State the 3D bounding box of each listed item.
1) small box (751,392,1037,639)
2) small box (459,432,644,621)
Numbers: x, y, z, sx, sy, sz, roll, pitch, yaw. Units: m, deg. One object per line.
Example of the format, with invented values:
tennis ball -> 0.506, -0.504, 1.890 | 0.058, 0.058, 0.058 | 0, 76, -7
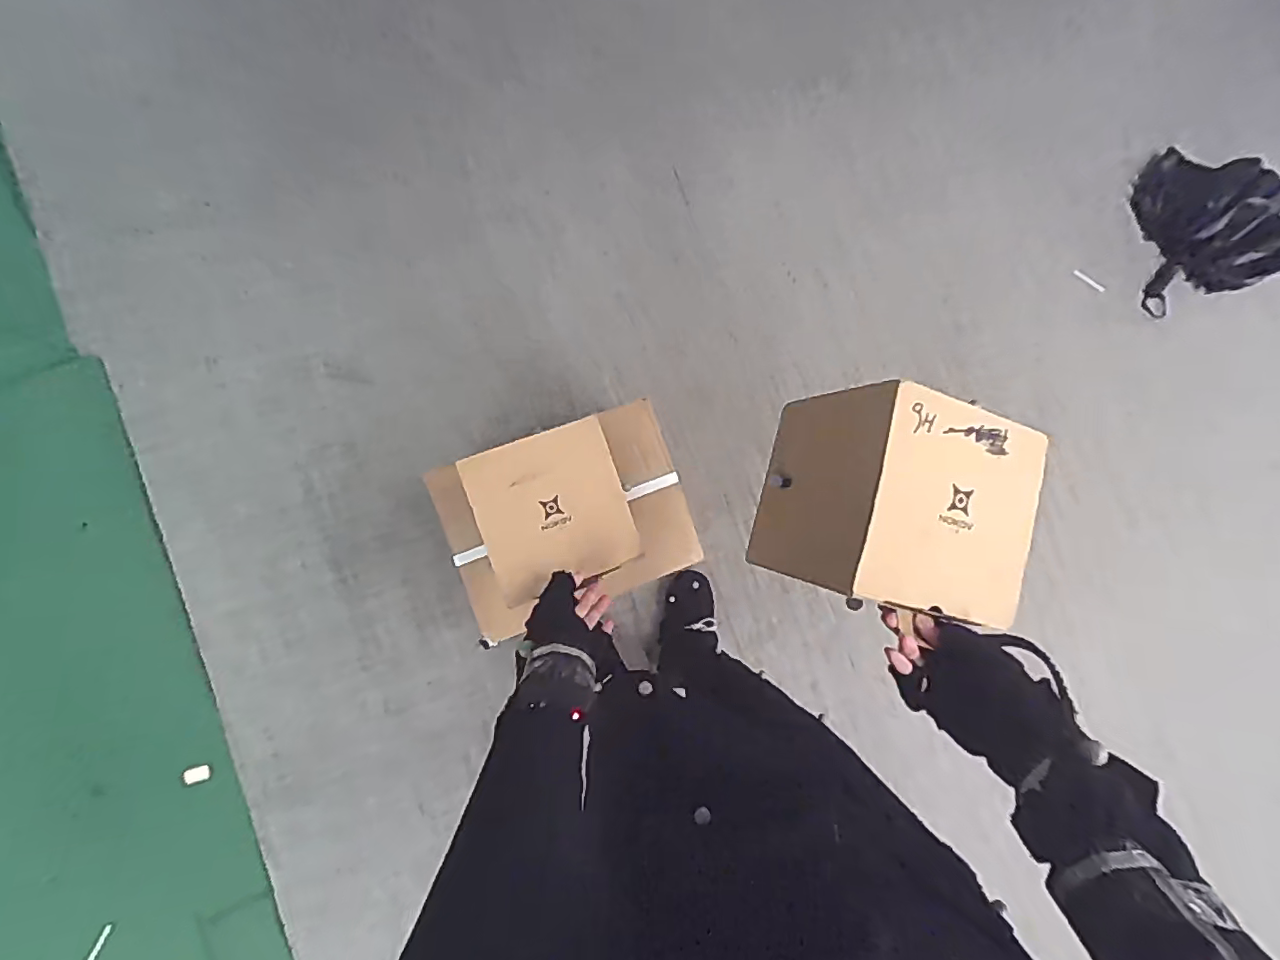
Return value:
small box -> 0.226, 0.031, 0.520 | 0.168, 0.176, 0.179 | 14, 87, -17
small box -> -0.107, 0.051, 0.689 | 0.168, 0.176, 0.179 | -21, 92, -8
